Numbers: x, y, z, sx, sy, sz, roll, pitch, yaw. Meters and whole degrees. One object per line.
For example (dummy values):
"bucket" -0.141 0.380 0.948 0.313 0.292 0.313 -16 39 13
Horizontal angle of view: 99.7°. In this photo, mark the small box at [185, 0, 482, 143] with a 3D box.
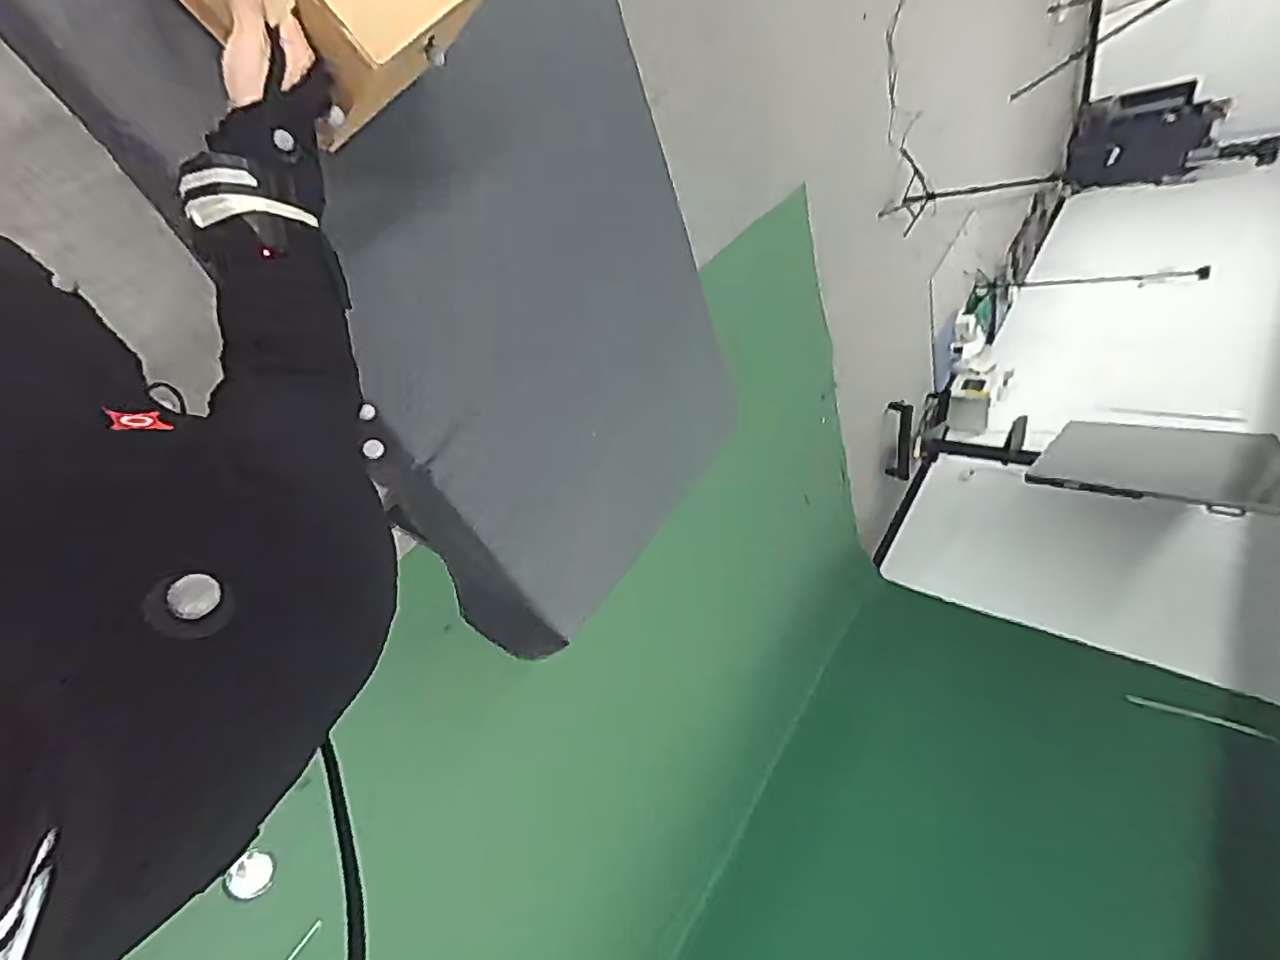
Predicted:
"small box" -0.253 -0.428 0.448 0.168 0.176 0.179 46 67 -36
